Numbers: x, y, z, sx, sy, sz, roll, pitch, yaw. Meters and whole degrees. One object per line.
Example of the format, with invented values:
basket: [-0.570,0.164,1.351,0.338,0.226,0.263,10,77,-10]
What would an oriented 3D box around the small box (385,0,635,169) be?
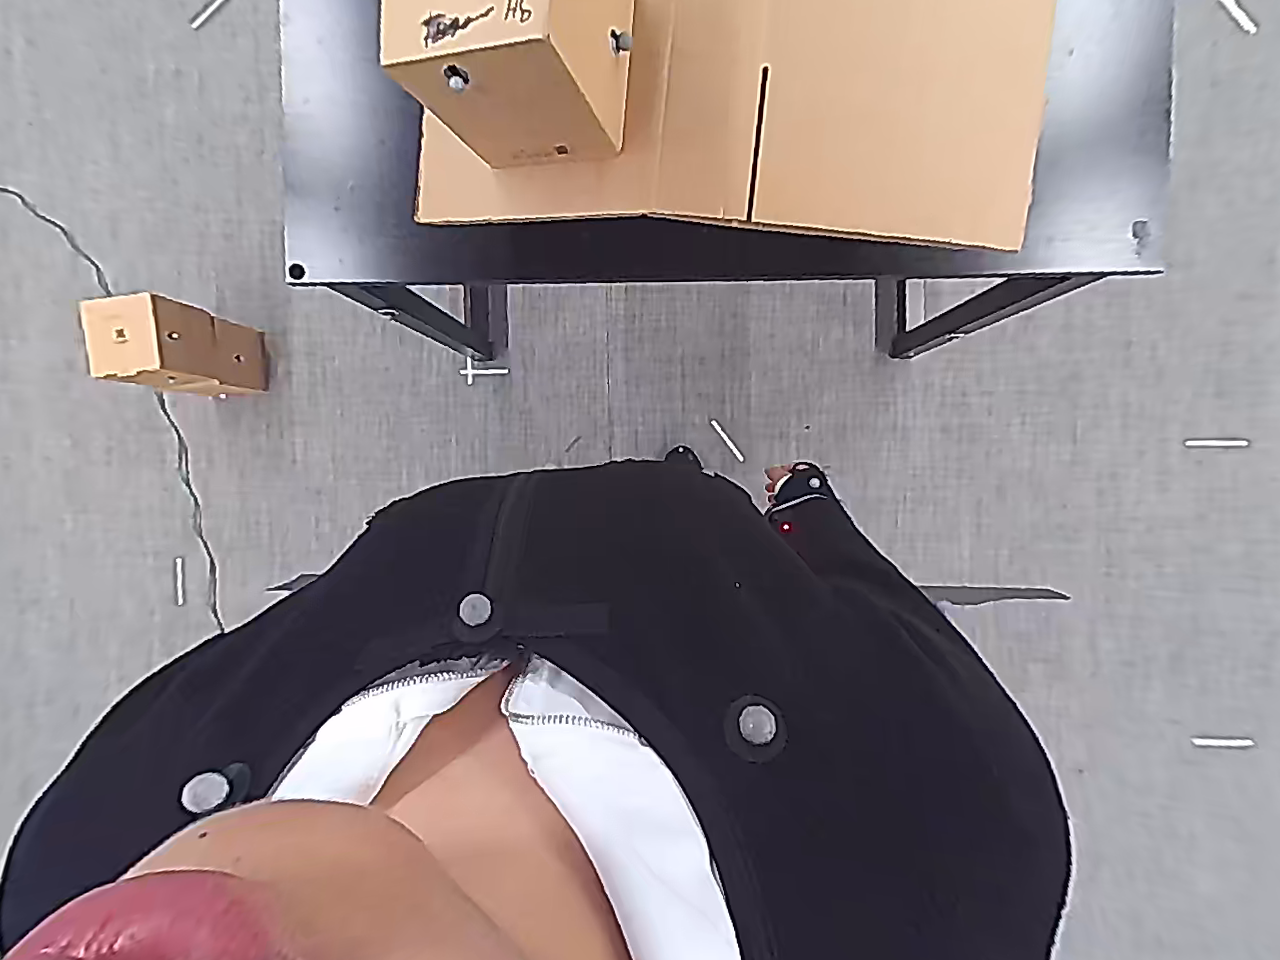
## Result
small box: [-0.111,-0.436,0.520,0.168,0.176,0.179,6,92,18]

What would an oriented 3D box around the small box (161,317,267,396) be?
small box: [-1.145,-0.326,1.455,0.168,0.176,0.179,-3,92,3]

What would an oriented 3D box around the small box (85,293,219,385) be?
small box: [-1.154,-0.327,1.293,0.168,0.176,0.179,-7,90,2]
